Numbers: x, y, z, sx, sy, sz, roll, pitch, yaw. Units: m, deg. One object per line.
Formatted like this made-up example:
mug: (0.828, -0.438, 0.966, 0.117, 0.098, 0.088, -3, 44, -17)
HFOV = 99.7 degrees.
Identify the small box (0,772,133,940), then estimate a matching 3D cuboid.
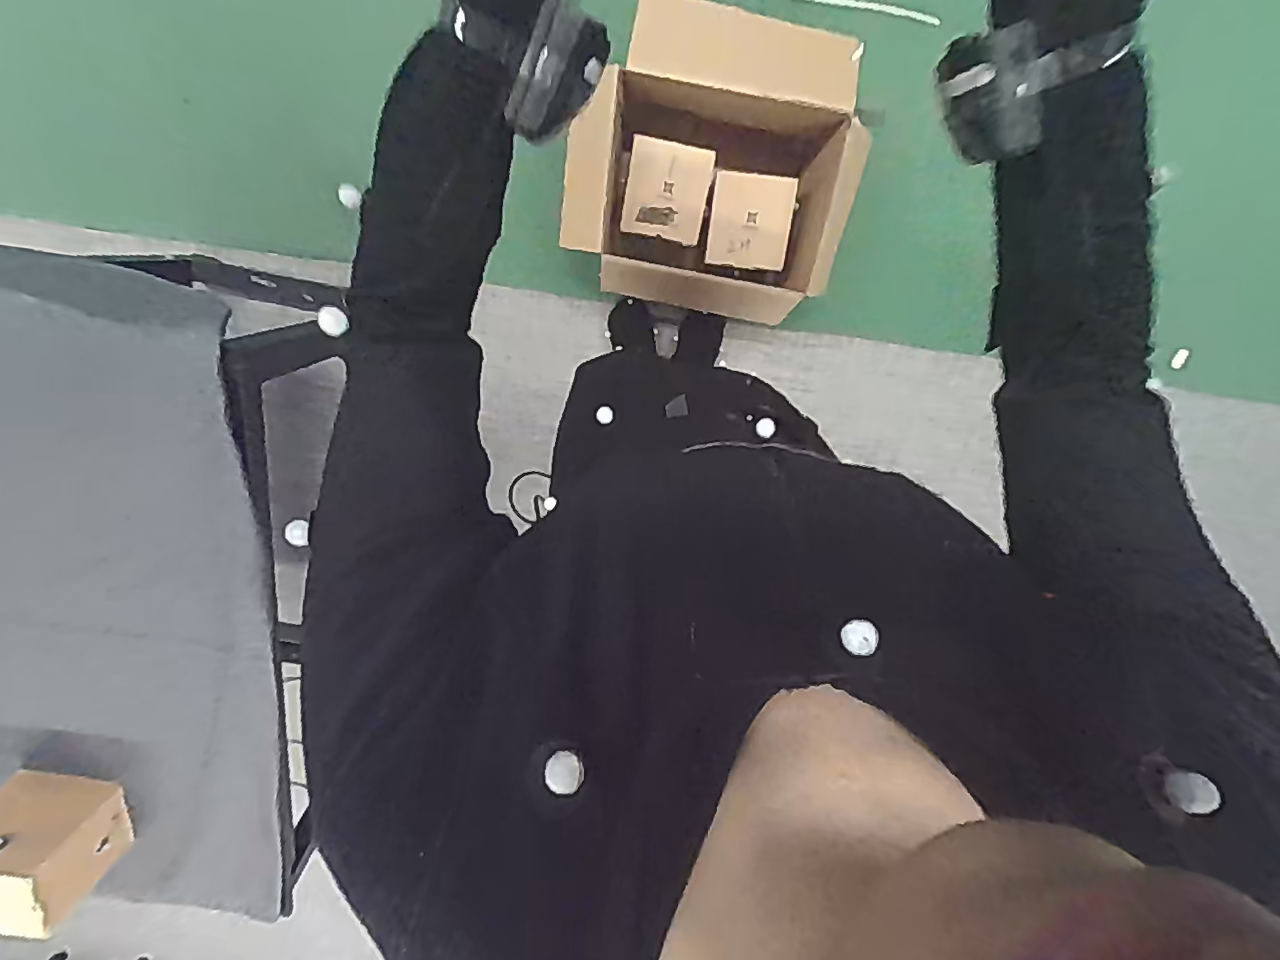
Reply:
small box: (-1.038, 0.635, 0.927, 0.179, 0.176, 0.168, 11, 112, -5)
